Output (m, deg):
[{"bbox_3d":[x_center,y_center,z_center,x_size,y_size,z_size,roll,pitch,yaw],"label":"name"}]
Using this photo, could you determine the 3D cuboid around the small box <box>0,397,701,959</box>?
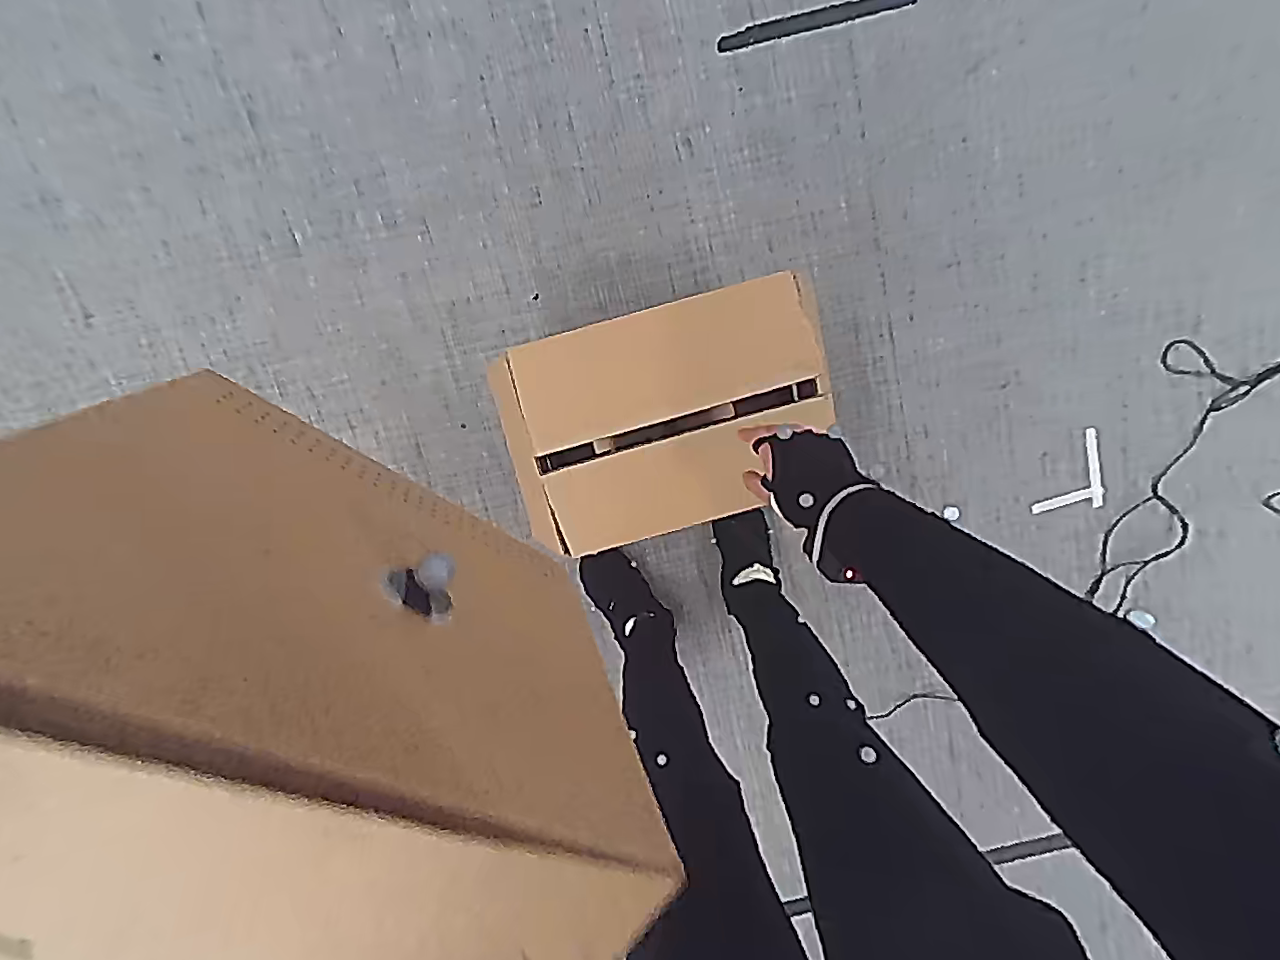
[{"bbox_3d":[-0.120,0.090,0.173,0.179,0.176,0.168,35,96,-27],"label":"small box"}]
